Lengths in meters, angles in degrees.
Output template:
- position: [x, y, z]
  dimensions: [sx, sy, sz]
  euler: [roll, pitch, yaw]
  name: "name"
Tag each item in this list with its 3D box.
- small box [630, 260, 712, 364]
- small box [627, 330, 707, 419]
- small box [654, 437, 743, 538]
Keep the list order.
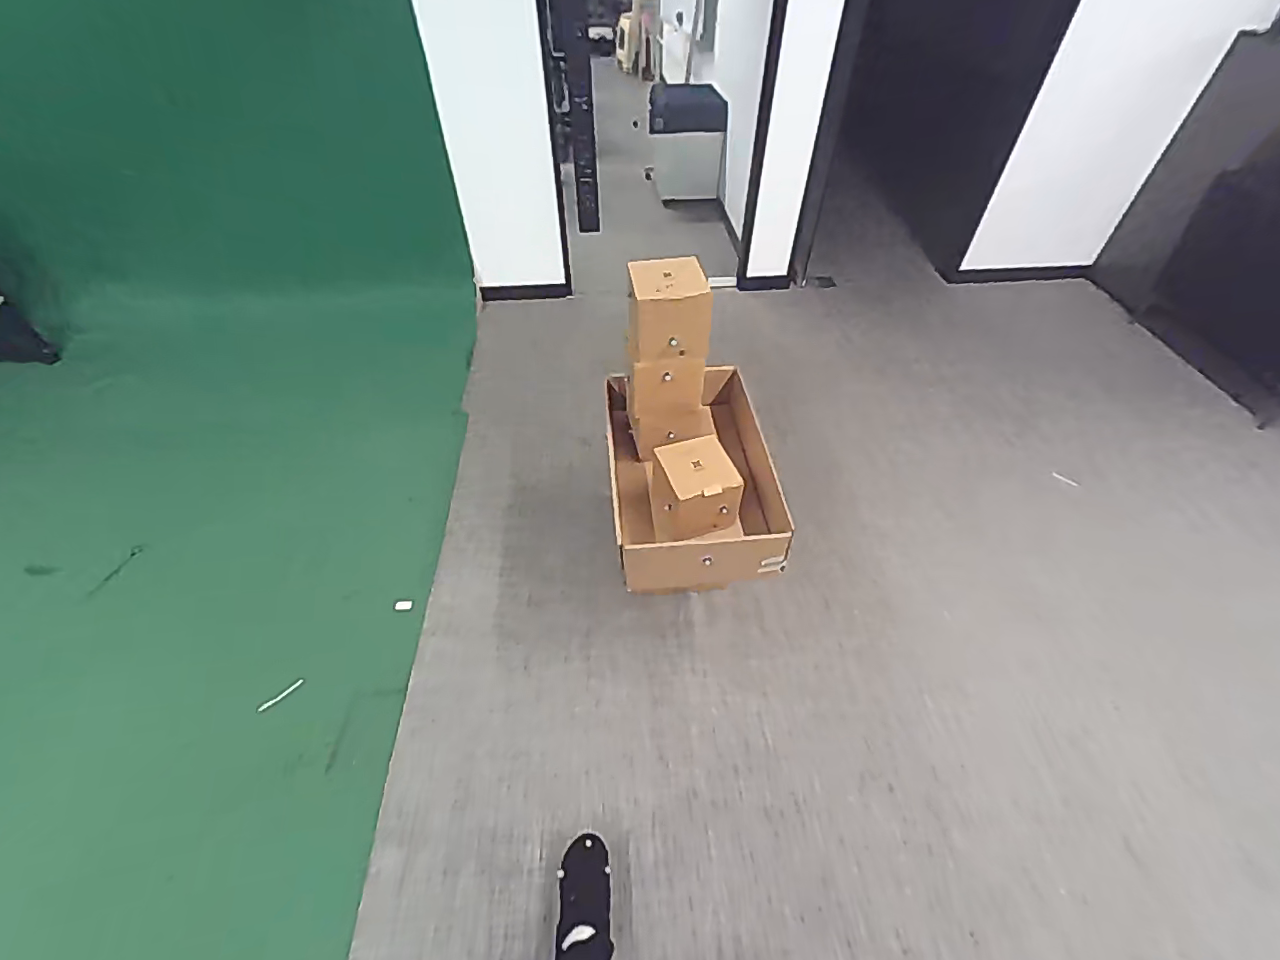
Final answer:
- position: [0.067, -0.396, 1.280]
  dimensions: [0.168, 0.176, 0.179]
  euler: [-7, 49, -4]
  name: "small box"
- position: [0.063, -0.277, 1.395]
  dimensions: [0.179, 0.176, 0.168]
  euler: [-8, 49, -6]
  name: "small box"
- position: [0.139, 0.025, 1.343]
  dimensions: [0.168, 0.176, 0.179]
  euler: [-13, 49, -13]
  name: "small box"
